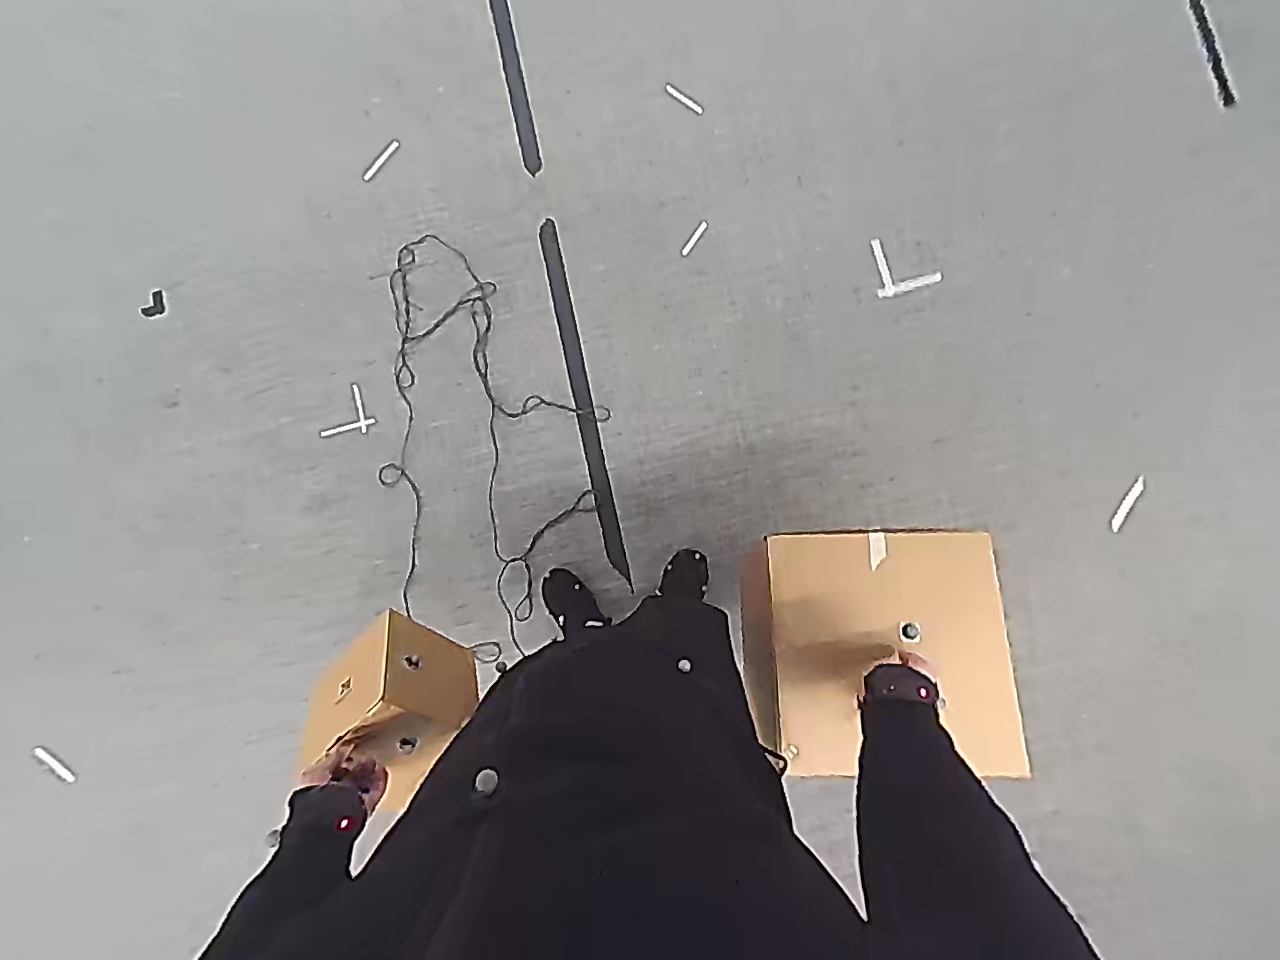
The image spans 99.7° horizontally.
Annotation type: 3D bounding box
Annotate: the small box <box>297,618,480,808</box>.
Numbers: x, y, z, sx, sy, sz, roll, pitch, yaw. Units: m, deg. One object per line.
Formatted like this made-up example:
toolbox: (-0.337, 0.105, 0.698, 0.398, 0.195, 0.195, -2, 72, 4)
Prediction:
small box: (-0.351, 0.342, 0.784, 0.168, 0.179, 0.176, -43, 123, 4)
